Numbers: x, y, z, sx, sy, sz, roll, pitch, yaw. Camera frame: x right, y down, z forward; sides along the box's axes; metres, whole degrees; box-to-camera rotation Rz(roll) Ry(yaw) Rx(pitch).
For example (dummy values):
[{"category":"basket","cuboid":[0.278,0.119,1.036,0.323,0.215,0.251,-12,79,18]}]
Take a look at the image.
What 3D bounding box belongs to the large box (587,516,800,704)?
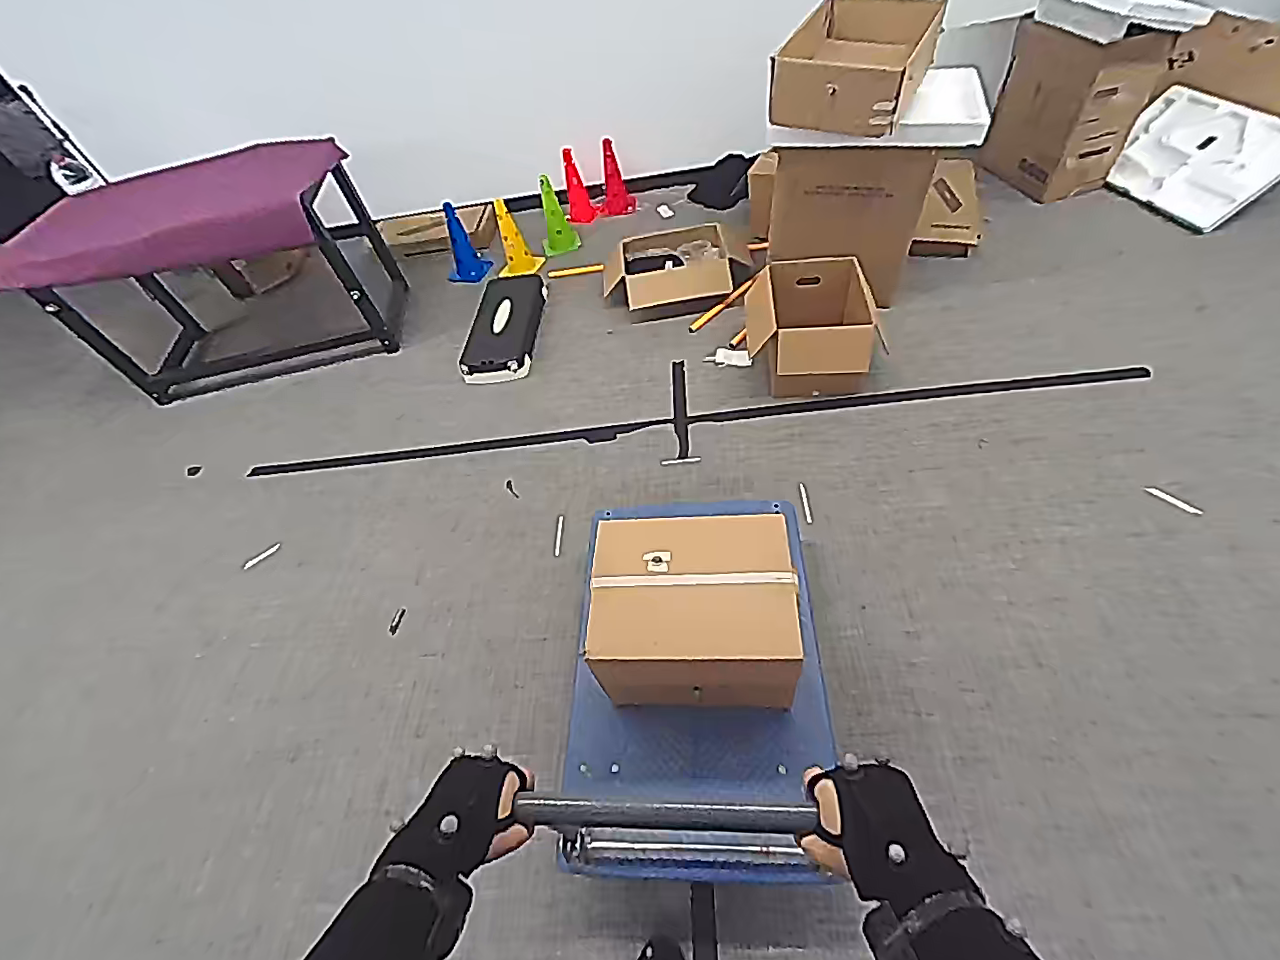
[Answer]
[{"category":"large box","cuboid":[0.123,0.303,1.212,0.408,0.320,0.320,-4,51,9]}]
